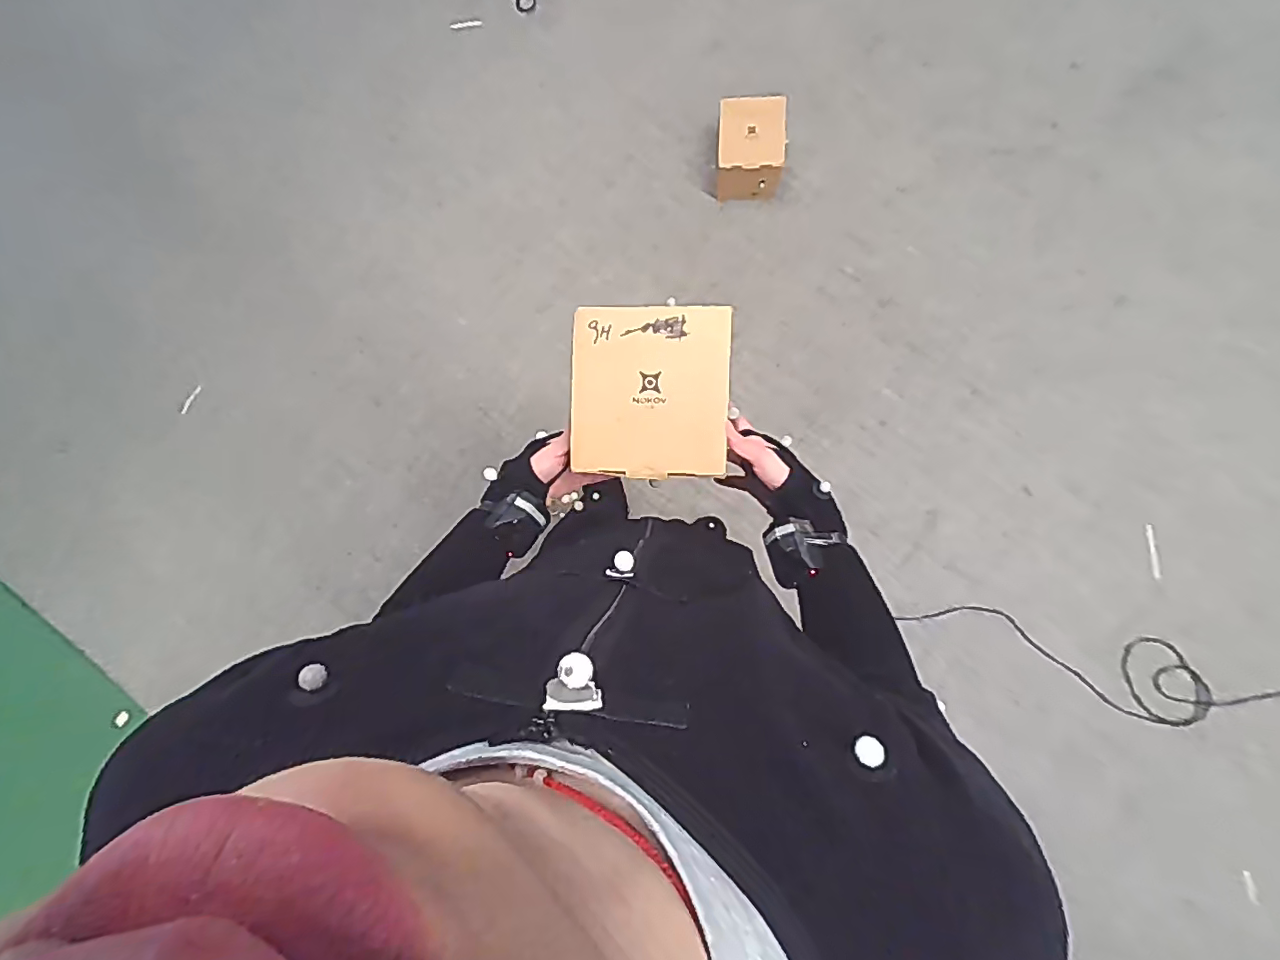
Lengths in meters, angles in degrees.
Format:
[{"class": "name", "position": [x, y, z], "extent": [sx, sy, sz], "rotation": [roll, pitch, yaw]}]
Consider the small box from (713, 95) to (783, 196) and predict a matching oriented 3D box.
[{"class": "small box", "position": [0.285, -0.883, 1.447], "extent": [0.168, 0.176, 0.179], "rotation": [1, 89, 5]}]
